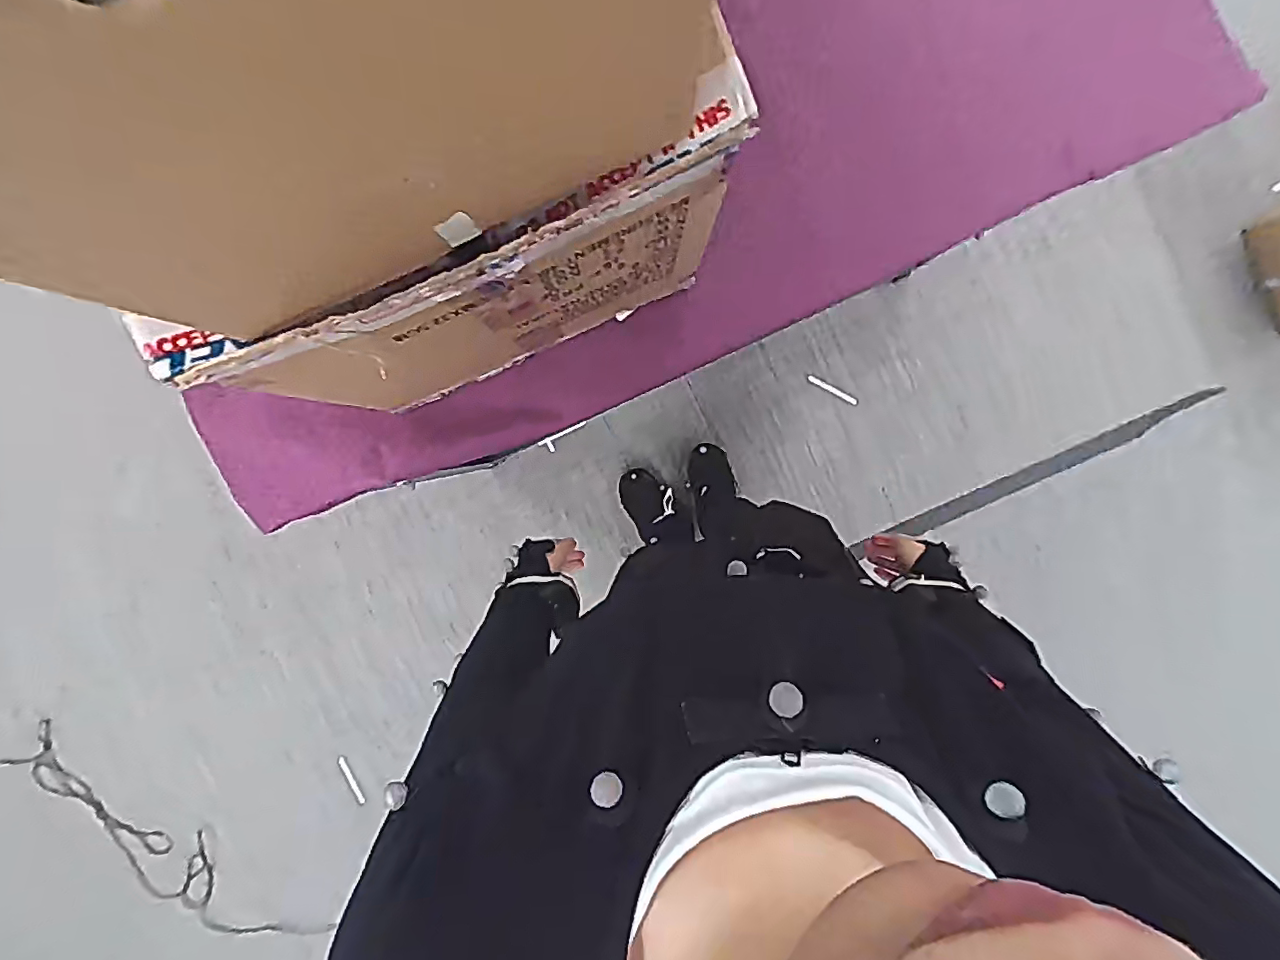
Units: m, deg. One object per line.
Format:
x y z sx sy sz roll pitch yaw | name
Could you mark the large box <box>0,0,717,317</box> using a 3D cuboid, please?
-0.183 -0.328 0.171 0.320 0.320 0.408 -25 94 3 | large box
